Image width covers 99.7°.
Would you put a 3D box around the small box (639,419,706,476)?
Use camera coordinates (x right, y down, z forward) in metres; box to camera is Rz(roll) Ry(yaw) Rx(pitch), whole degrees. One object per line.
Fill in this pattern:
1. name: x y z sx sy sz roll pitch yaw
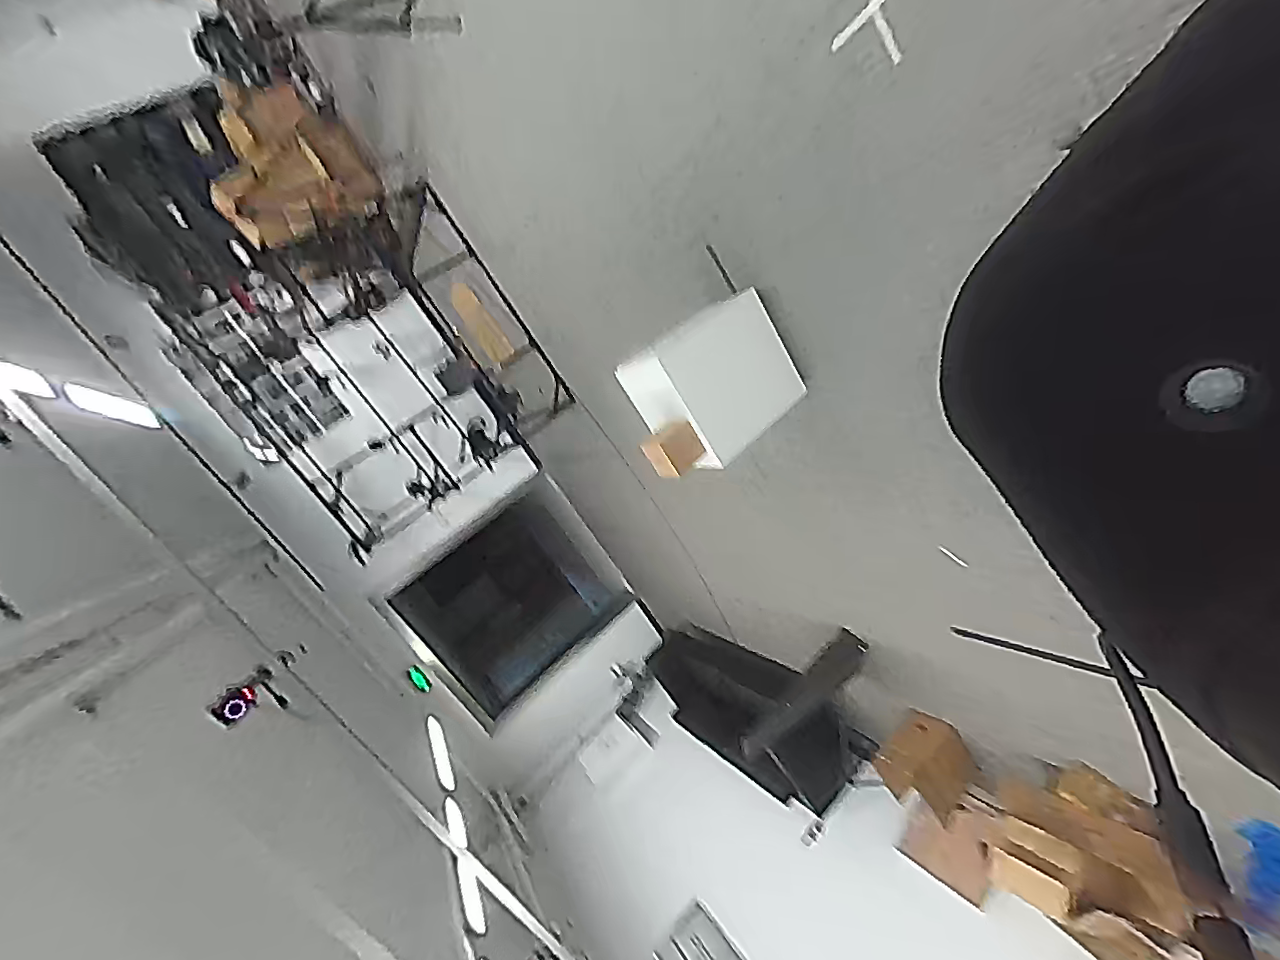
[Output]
1. small box: 0.134 -0.136 2.192 0.168 0.176 0.179 56 160 -18
